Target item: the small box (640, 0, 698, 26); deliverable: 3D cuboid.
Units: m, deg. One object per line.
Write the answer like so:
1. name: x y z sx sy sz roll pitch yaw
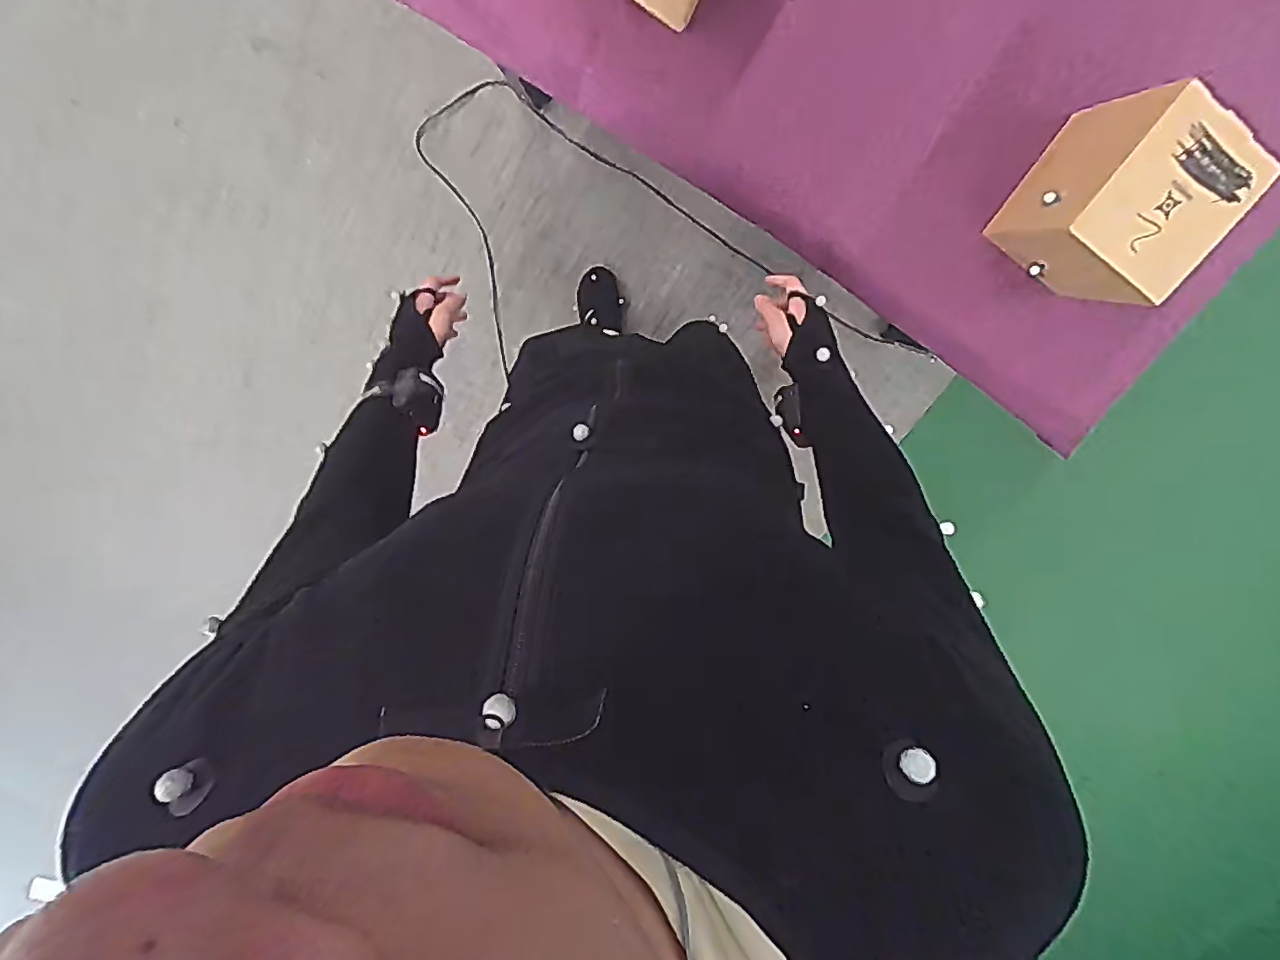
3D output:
1. small box: 0.025 -0.628 0.554 0.168 0.176 0.179 26 108 -12
